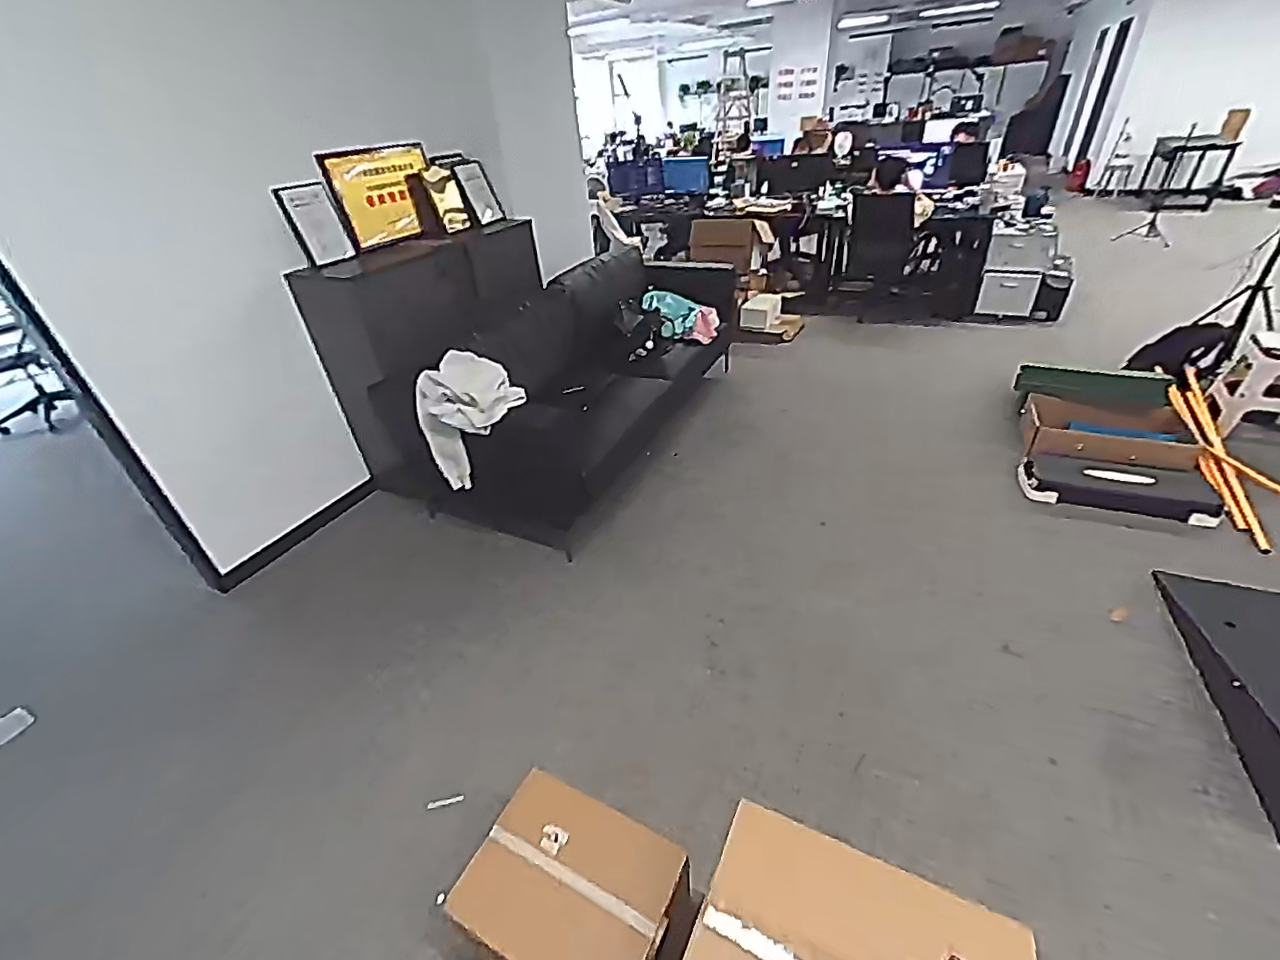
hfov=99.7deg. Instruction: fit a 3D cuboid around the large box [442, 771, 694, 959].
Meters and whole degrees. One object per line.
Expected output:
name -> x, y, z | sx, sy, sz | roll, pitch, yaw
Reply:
large box -> -0.128, 0.920, 1.157 | 0.408, 0.320, 0.320 | 12, 37, 26
